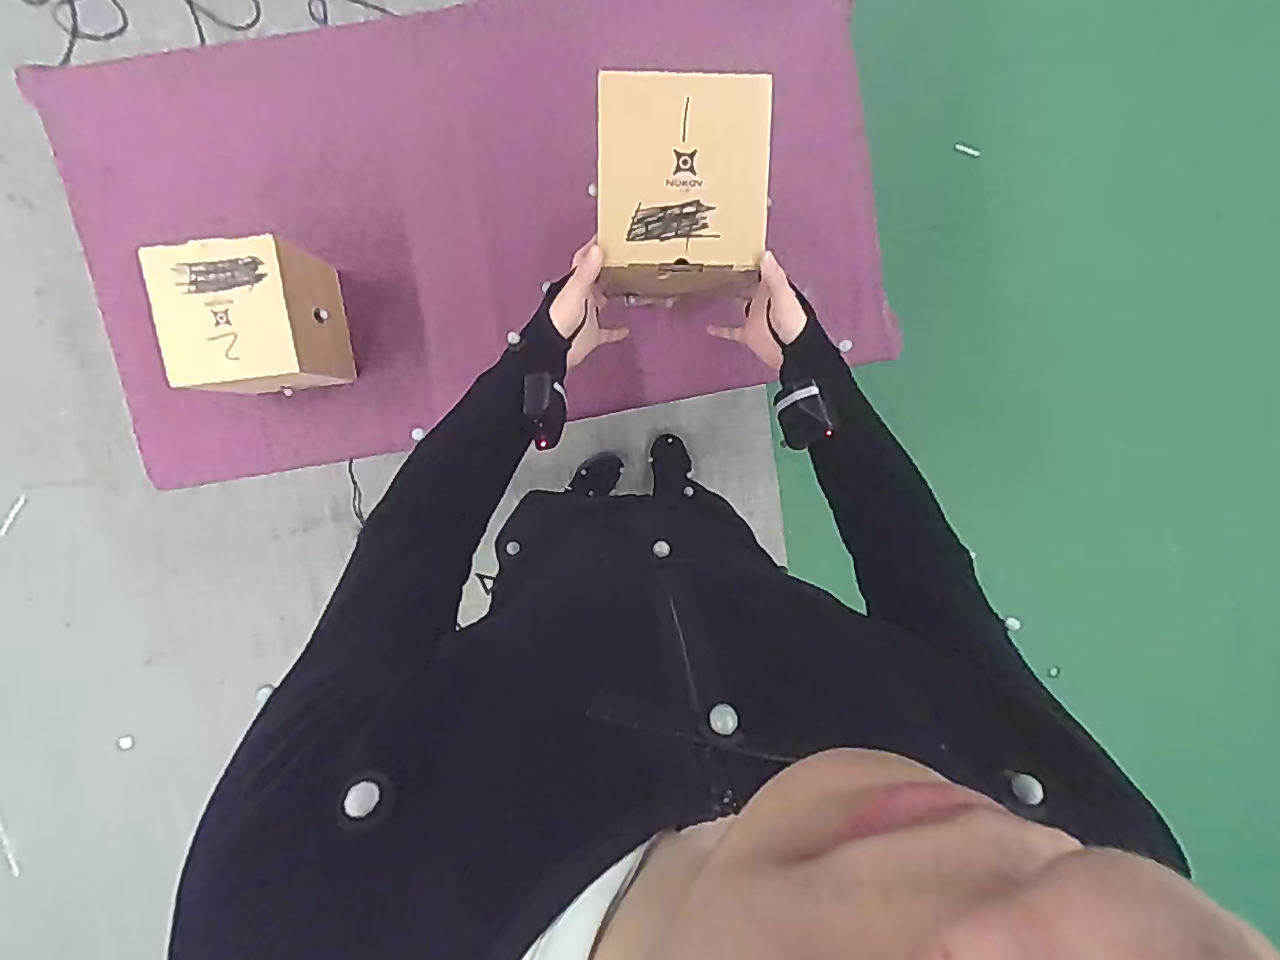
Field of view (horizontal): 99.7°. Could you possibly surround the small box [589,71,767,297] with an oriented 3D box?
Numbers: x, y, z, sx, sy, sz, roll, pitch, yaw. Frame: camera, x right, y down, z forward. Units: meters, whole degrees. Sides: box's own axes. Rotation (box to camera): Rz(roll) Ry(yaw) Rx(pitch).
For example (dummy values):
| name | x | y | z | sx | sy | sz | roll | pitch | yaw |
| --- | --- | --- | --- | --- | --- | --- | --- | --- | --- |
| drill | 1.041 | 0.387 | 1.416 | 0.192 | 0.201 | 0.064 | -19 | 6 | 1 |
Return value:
| name | x | y | z | sx | sy | sz | roll | pitch | yaw |
| --- | --- | --- | --- | --- | --- | --- | --- | --- | --- |
| small box | 0.035 | -0.306 | 0.596 | 0.168 | 0.176 | 0.179 | 1 | 98 | -1 |
